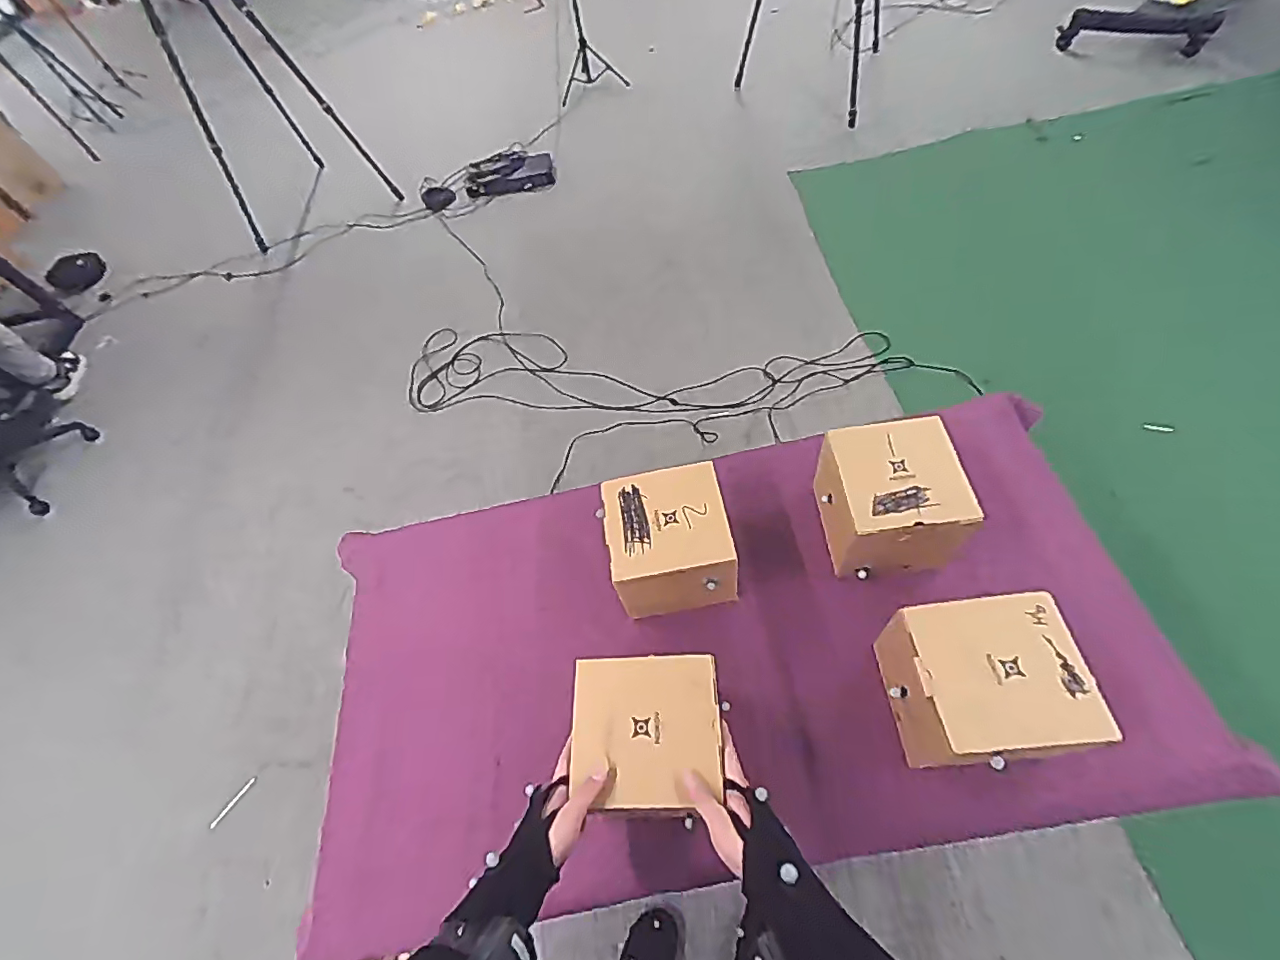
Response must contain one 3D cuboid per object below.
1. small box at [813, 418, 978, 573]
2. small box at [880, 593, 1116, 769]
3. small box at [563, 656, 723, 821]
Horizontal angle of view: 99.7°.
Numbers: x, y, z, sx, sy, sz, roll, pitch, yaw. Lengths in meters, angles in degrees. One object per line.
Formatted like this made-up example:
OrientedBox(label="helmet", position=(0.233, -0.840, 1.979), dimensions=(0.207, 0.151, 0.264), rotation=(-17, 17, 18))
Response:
OrientedBox(label="small box", position=(0.371, 0.033, 0.822), dimensions=(0.168, 0.176, 0.179), rotation=(-6, 57, 5))
OrientedBox(label="small box", position=(0.416, 0.257, 0.674), dimensions=(0.179, 0.176, 0.168), rotation=(-8, 57, 6))
OrientedBox(label="small box", position=(0.012, 0.331, 0.689), dimensions=(0.179, 0.176, 0.168), rotation=(-4, 54, 7))
